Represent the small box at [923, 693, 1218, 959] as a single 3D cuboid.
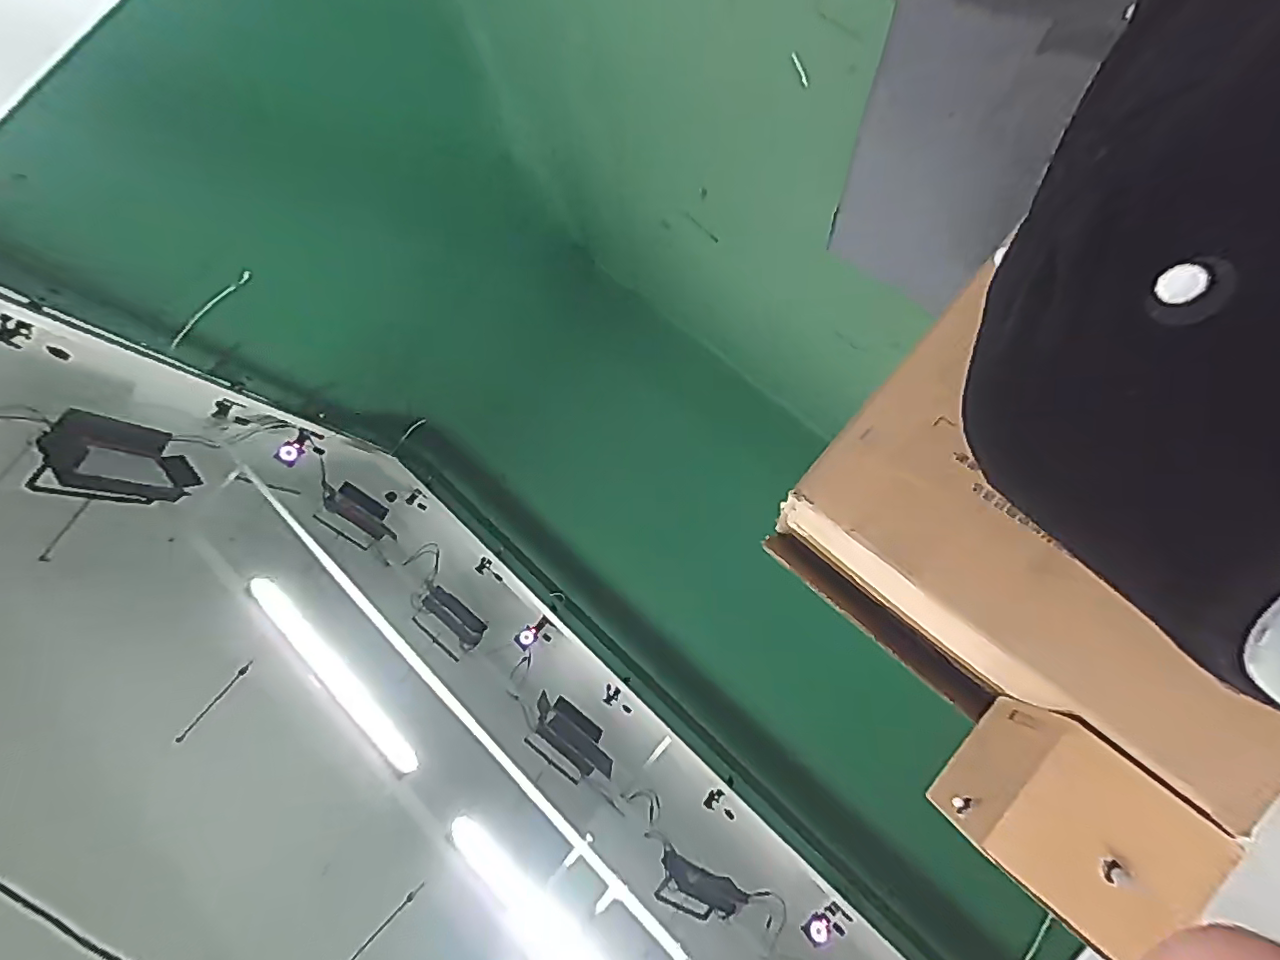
[{"bbox_3d":[0.477,0.380,0.622,0.179,0.176,0.168,38,175,15],"label":"small box"}]
